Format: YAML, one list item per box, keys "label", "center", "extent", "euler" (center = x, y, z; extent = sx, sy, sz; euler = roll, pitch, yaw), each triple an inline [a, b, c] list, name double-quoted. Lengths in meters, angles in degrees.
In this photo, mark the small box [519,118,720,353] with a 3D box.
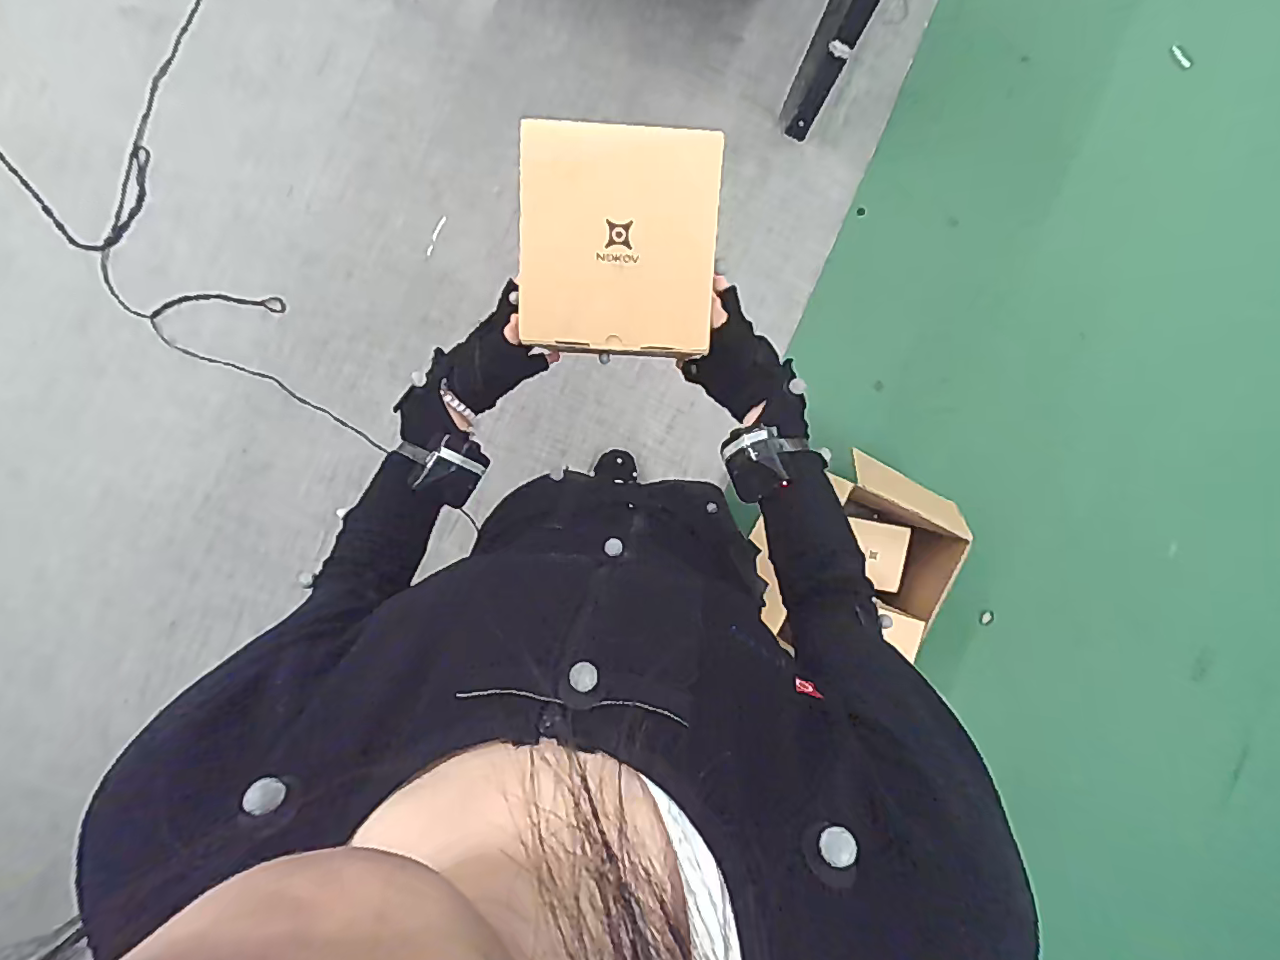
- label: "small box"
  center: [-0.024, -0.222, 0.538]
  extent: [0.168, 0.176, 0.179]
  euler: [3, 103, -3]
